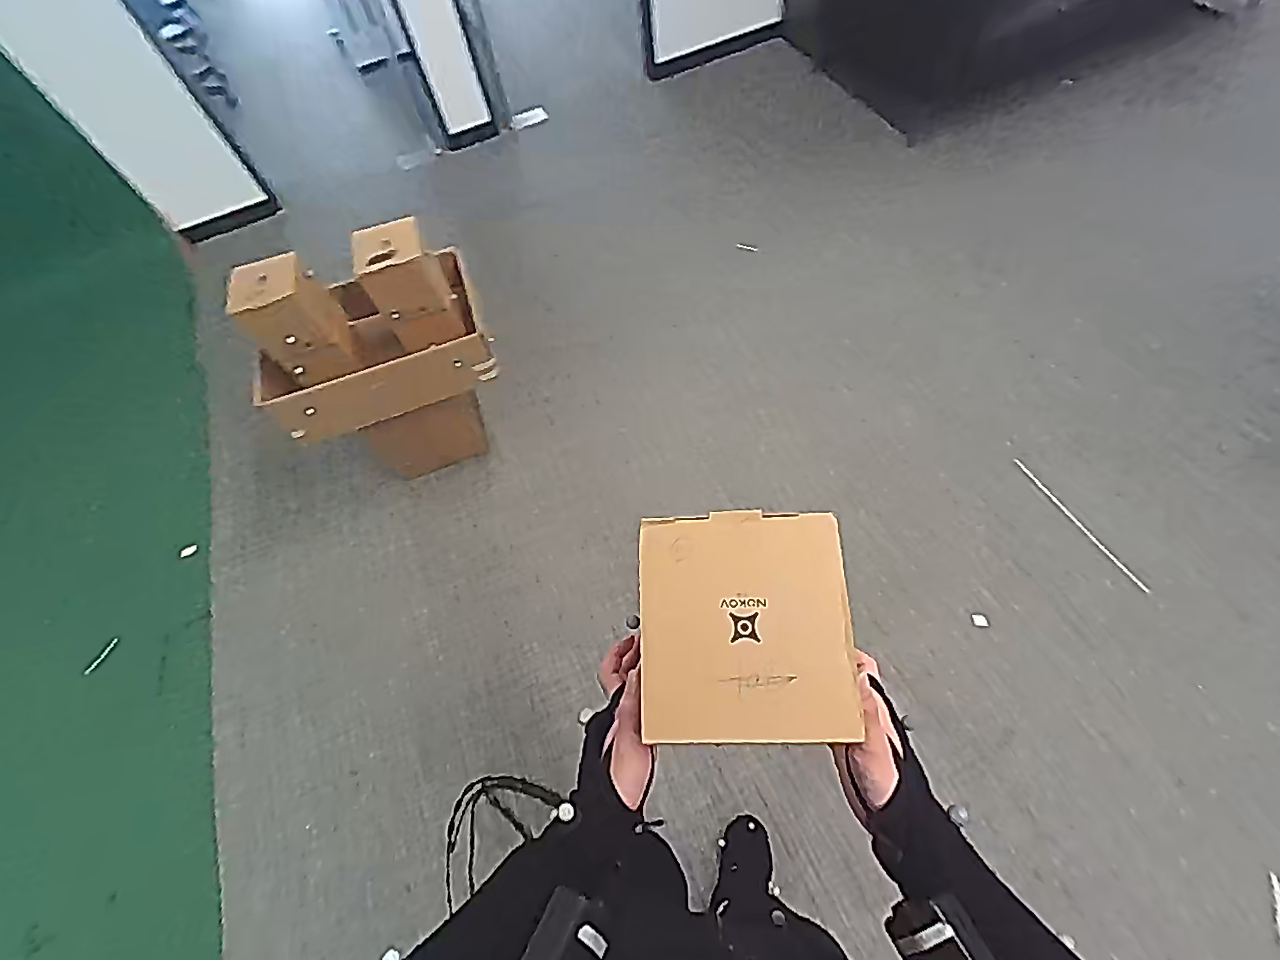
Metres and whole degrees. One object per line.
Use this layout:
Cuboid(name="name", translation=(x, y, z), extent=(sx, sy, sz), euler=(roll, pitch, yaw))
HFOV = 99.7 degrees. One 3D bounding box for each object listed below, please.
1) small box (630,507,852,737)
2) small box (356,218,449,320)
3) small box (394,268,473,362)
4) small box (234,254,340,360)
Cuboid(name="small box", translation=(0.078, 0.132, 0.500), extent=(0.168, 0.176, 0.179), euler=(-3, 72, 4))
Cuboid(name="small box", translation=(-0.623, -0.549, 1.431), extent=(0.168, 0.176, 0.179), euler=(-18, 61, -4))
Cuboid(name="small box", translation=(-0.605, -0.477, 1.578), extent=(0.168, 0.176, 0.179), euler=(-19, 62, -4))
Cuboid(name="small box", translation=(-0.911, -0.447, 1.411), extent=(0.168, 0.176, 0.179), euler=(-18, 61, -2))
